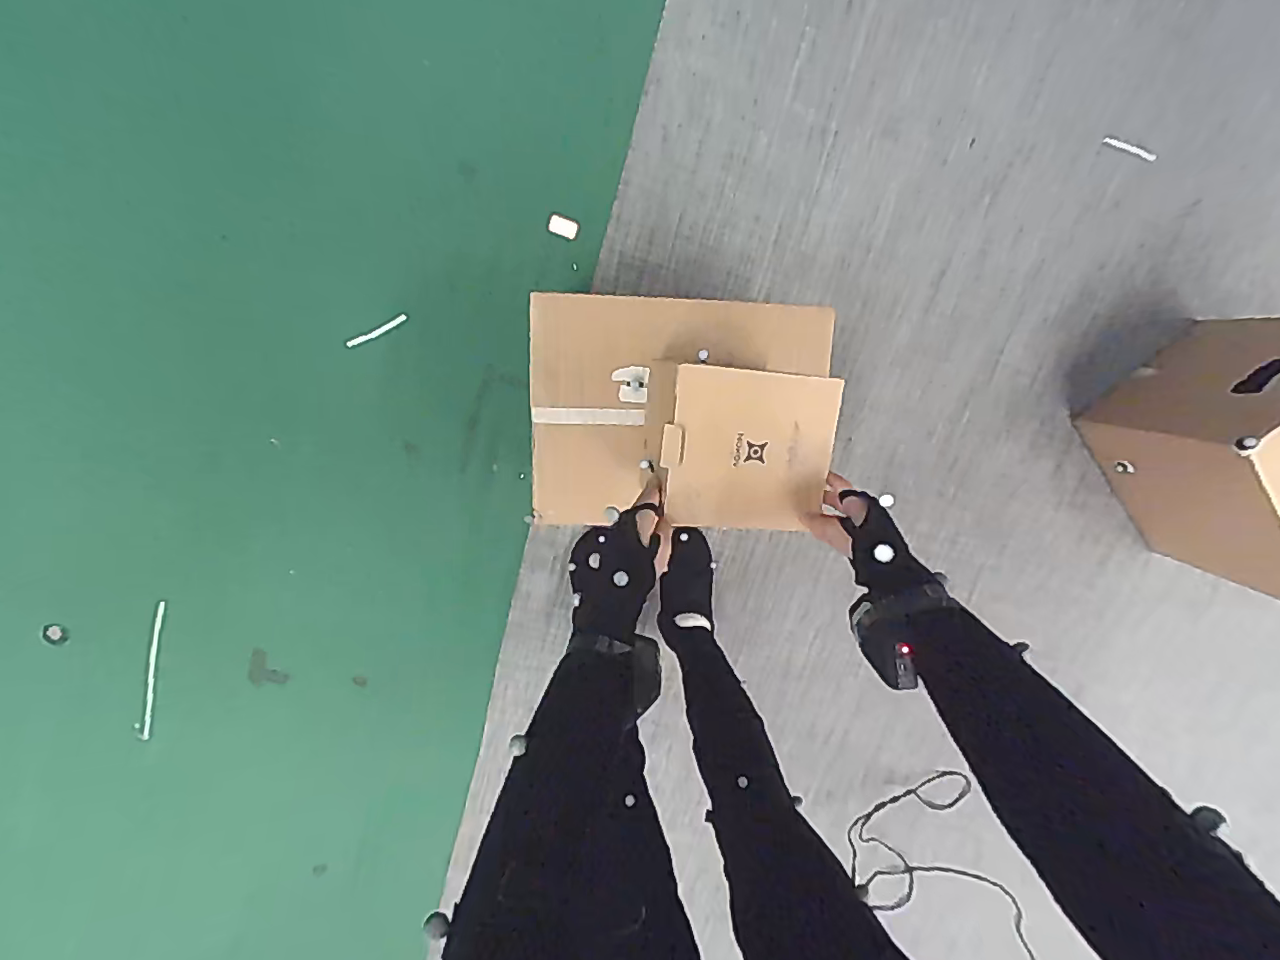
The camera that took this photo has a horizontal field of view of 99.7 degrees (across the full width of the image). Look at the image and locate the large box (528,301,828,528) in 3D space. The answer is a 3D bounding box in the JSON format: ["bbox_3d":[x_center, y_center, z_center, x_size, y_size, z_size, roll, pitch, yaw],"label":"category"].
[{"bbox_3d":[0.045,-0.117,0.883,0.408,0.320,0.320,1,103,-3],"label":"large box"}]

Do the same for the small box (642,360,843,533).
[{"bbox_3d":[0.101,-0.047,0.626,0.179,0.176,0.168,4,103,-9],"label":"small box"}]
